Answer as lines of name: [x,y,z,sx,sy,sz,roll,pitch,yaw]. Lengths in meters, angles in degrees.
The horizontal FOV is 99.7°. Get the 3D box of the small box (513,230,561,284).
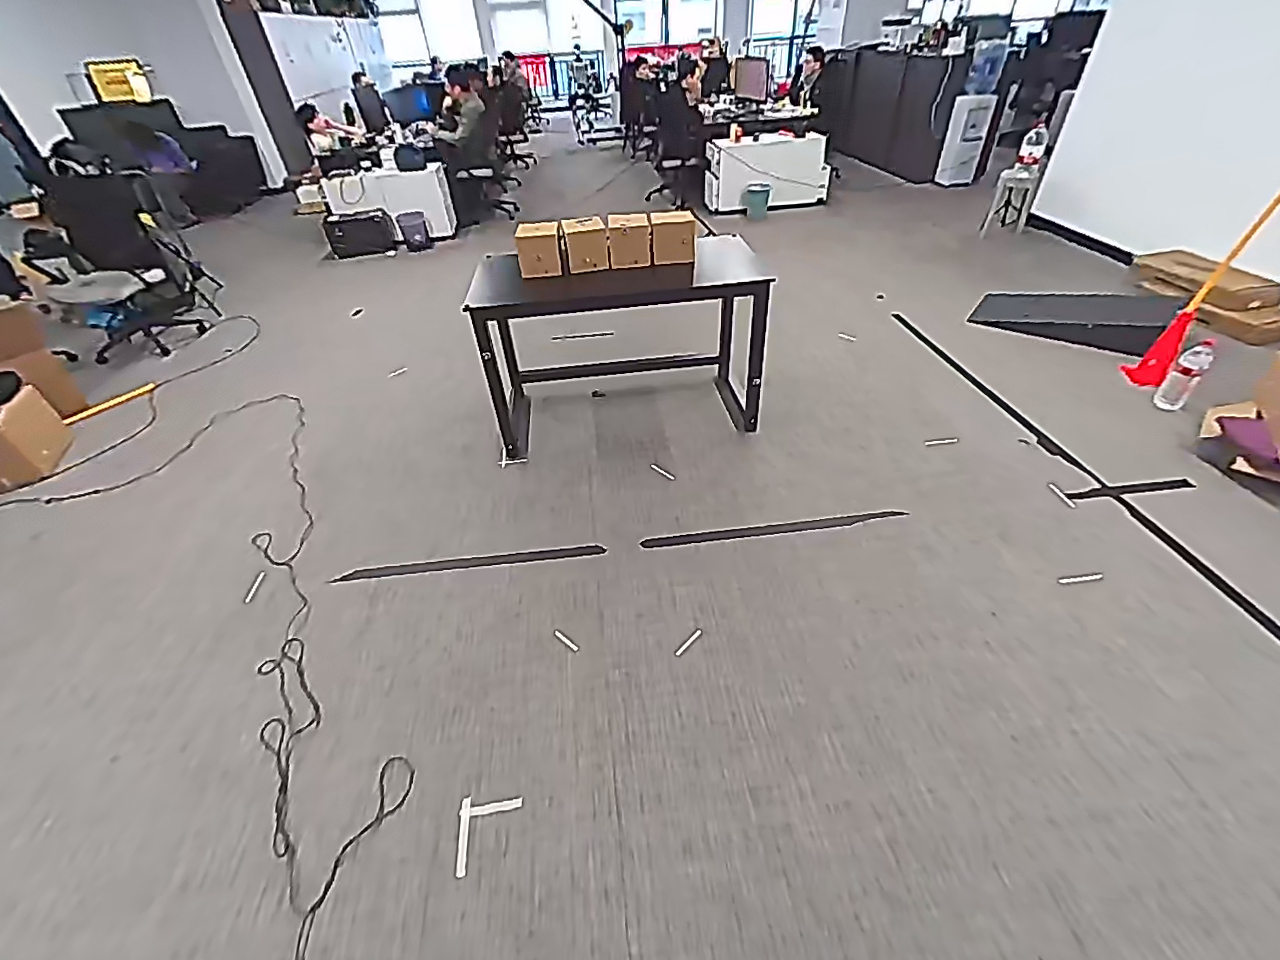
small box: [-0.430,-0.937,2.282,0.168,0.176,0.179,-5,39,-1]
